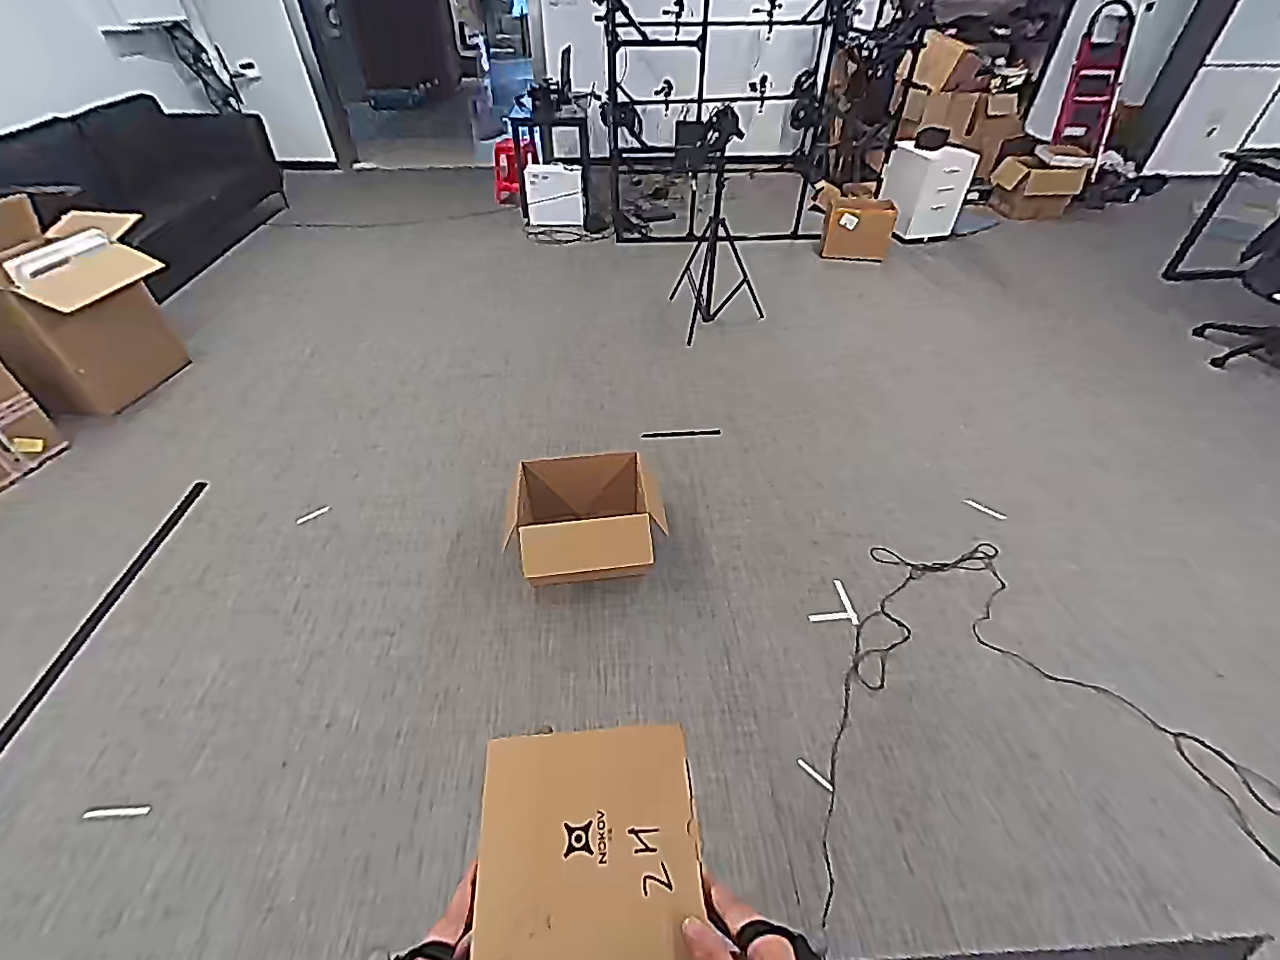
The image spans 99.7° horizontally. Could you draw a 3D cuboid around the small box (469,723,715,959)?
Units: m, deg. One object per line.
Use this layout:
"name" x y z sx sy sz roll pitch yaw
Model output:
"small box" -0.038 0.334 0.484 0.179 0.176 0.168 -3 50 -4
